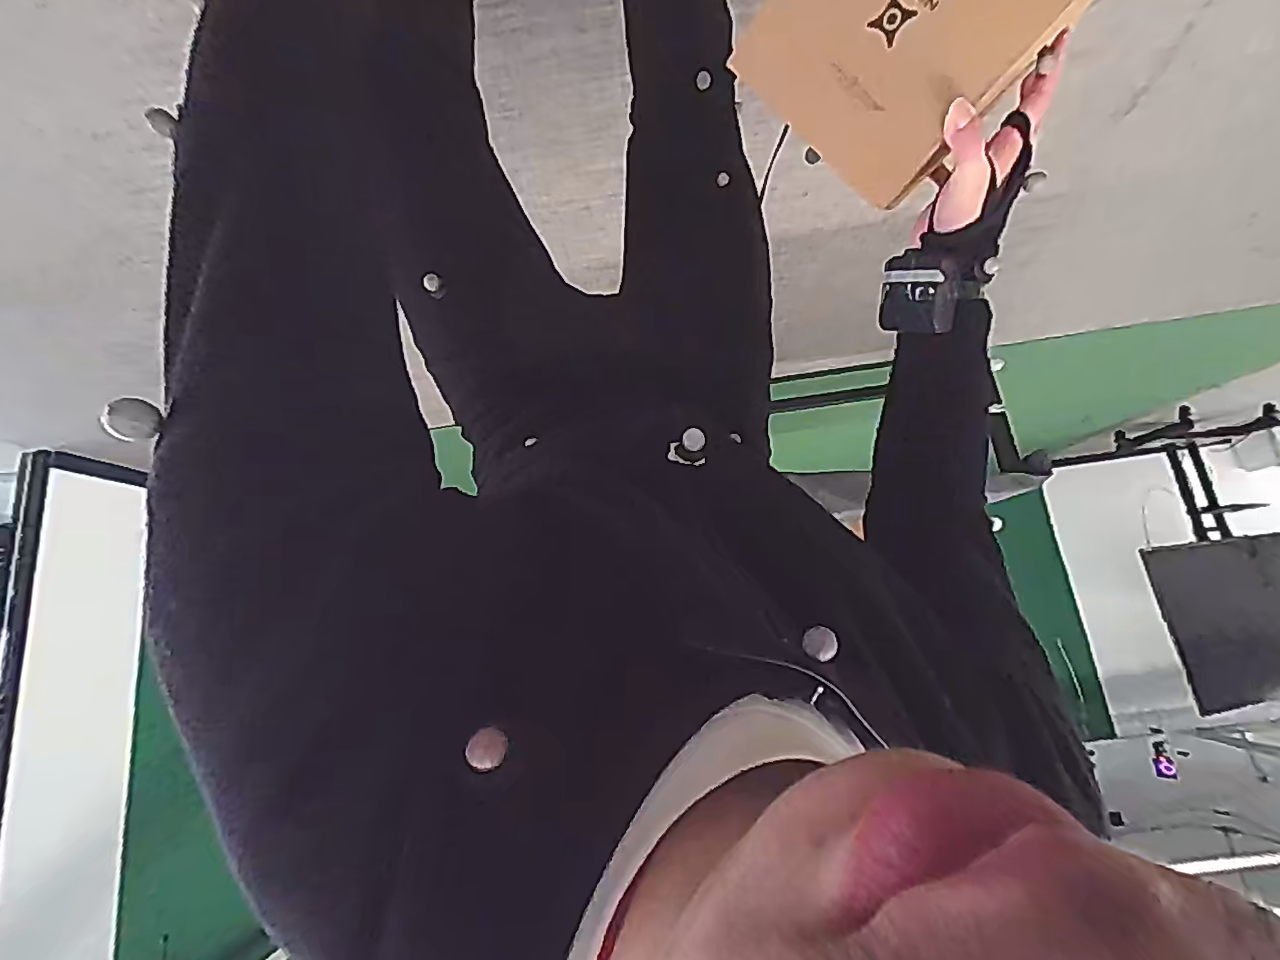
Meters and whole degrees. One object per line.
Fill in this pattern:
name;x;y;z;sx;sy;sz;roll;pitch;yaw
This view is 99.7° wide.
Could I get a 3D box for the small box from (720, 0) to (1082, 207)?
small box;0.197;-0.338;0.411;0.179;0.168;0.176;-44;176;37
